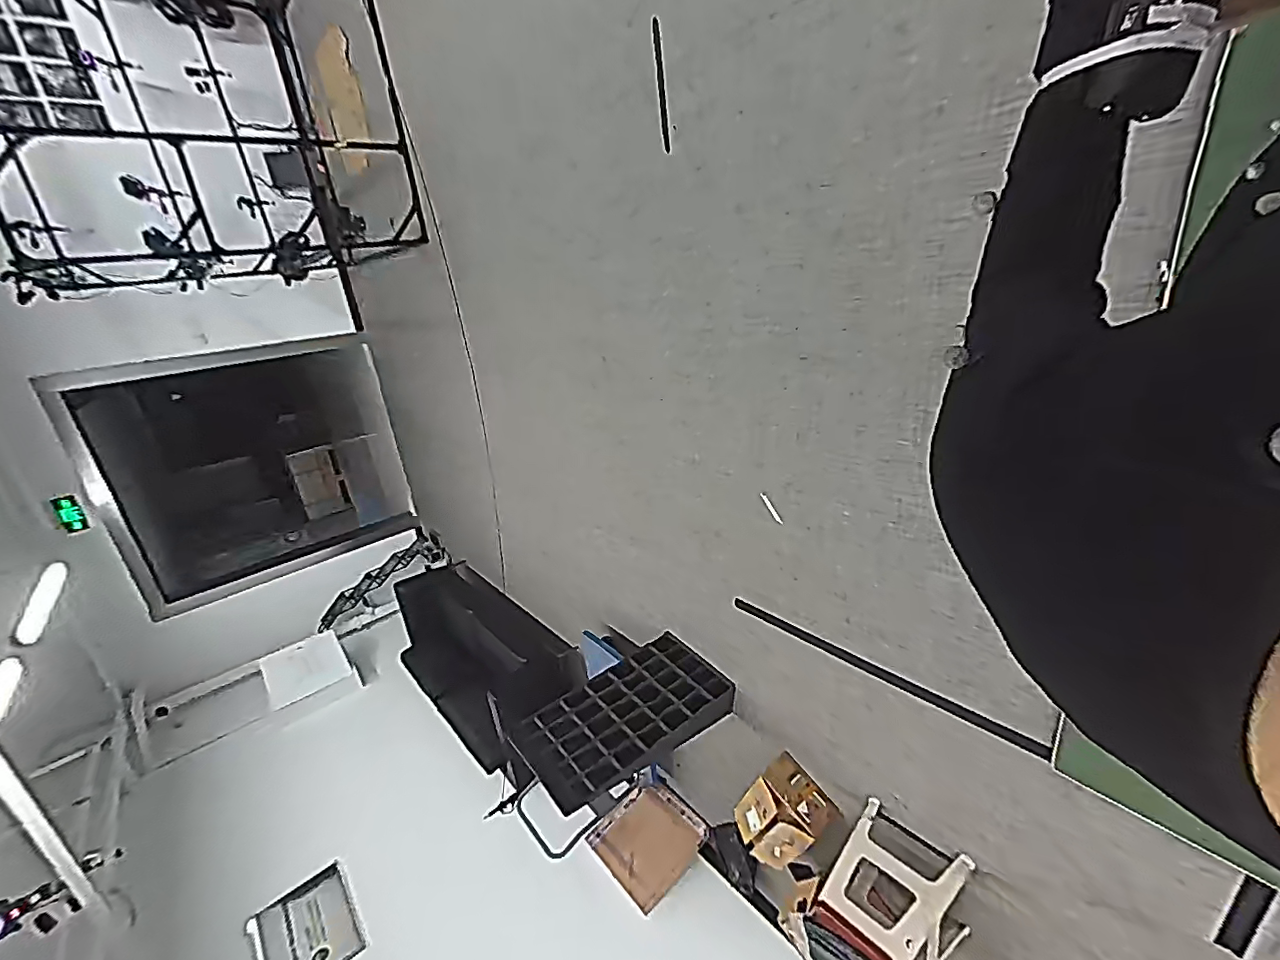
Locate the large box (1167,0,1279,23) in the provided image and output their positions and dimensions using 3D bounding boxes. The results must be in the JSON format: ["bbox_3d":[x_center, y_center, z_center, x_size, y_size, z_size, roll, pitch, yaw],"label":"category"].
[{"bbox_3d":[0.566,-0.512,0.264,0.408,0.320,0.320,10,125,51],"label":"large box"}]
